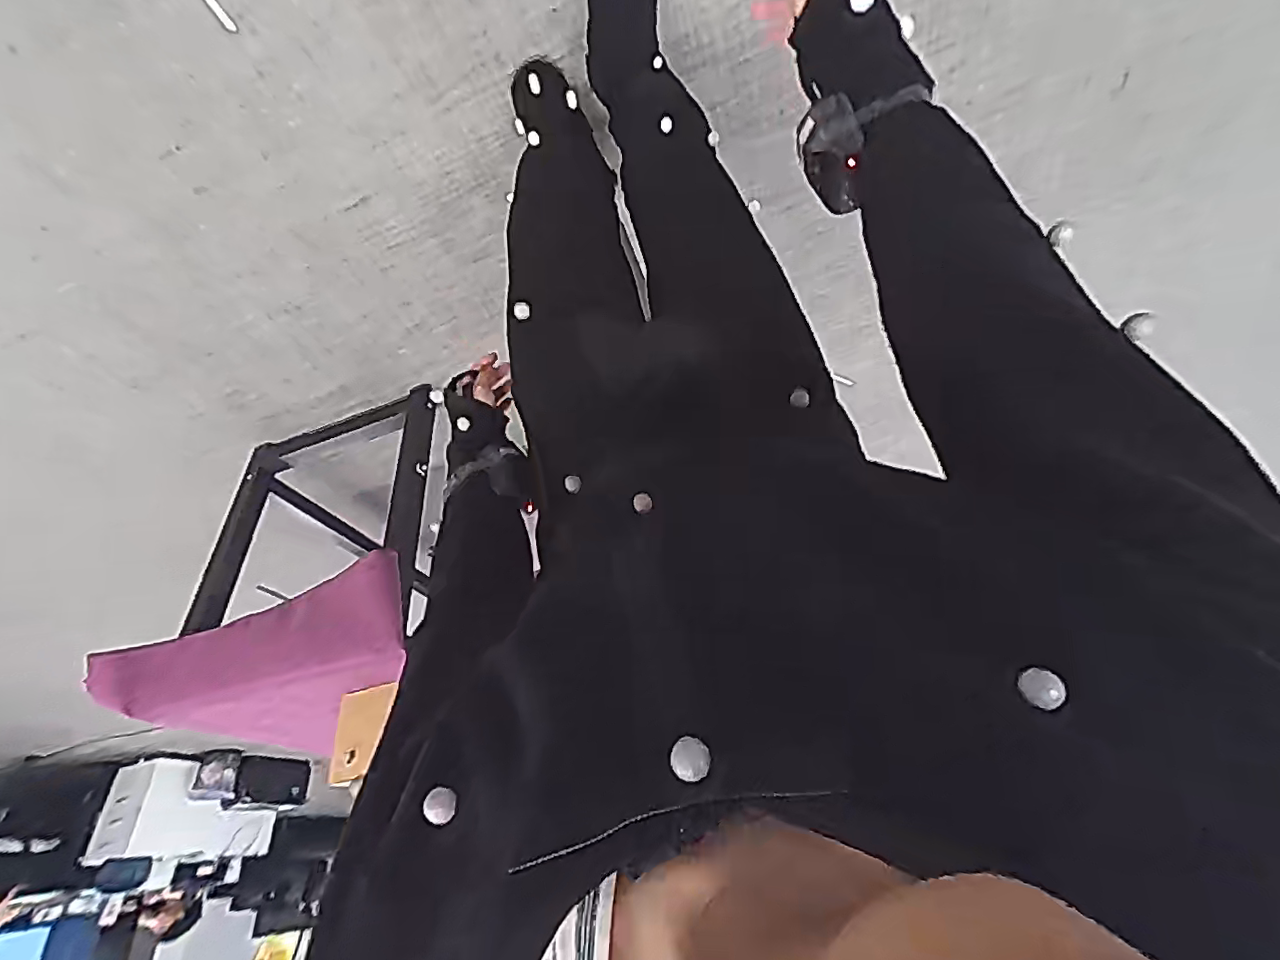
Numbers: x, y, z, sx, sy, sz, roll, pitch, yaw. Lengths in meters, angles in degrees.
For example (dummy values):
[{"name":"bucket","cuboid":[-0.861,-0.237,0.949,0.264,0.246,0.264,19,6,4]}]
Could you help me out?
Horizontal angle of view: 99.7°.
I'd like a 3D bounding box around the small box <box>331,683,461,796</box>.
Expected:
[{"name":"small box","cuboid":[-0.486,0.532,1.106,0.179,0.176,0.168,-18,144,12]}]
